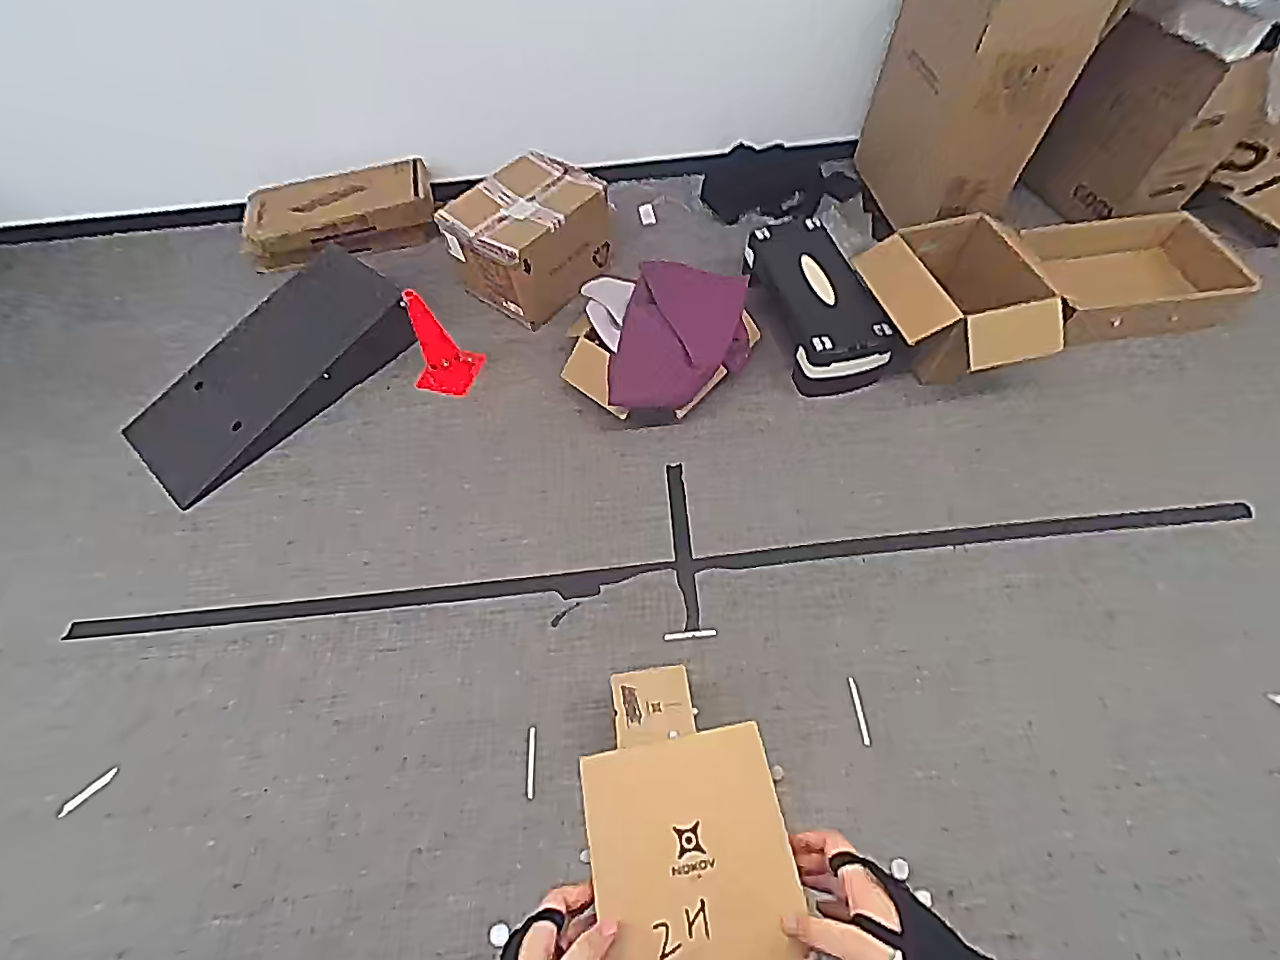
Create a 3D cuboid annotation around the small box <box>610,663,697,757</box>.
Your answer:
[{"bbox_3d":[0.032,0.537,1.252,0.179,0.176,0.168,-8,60,-2],"label":"small box"}]
